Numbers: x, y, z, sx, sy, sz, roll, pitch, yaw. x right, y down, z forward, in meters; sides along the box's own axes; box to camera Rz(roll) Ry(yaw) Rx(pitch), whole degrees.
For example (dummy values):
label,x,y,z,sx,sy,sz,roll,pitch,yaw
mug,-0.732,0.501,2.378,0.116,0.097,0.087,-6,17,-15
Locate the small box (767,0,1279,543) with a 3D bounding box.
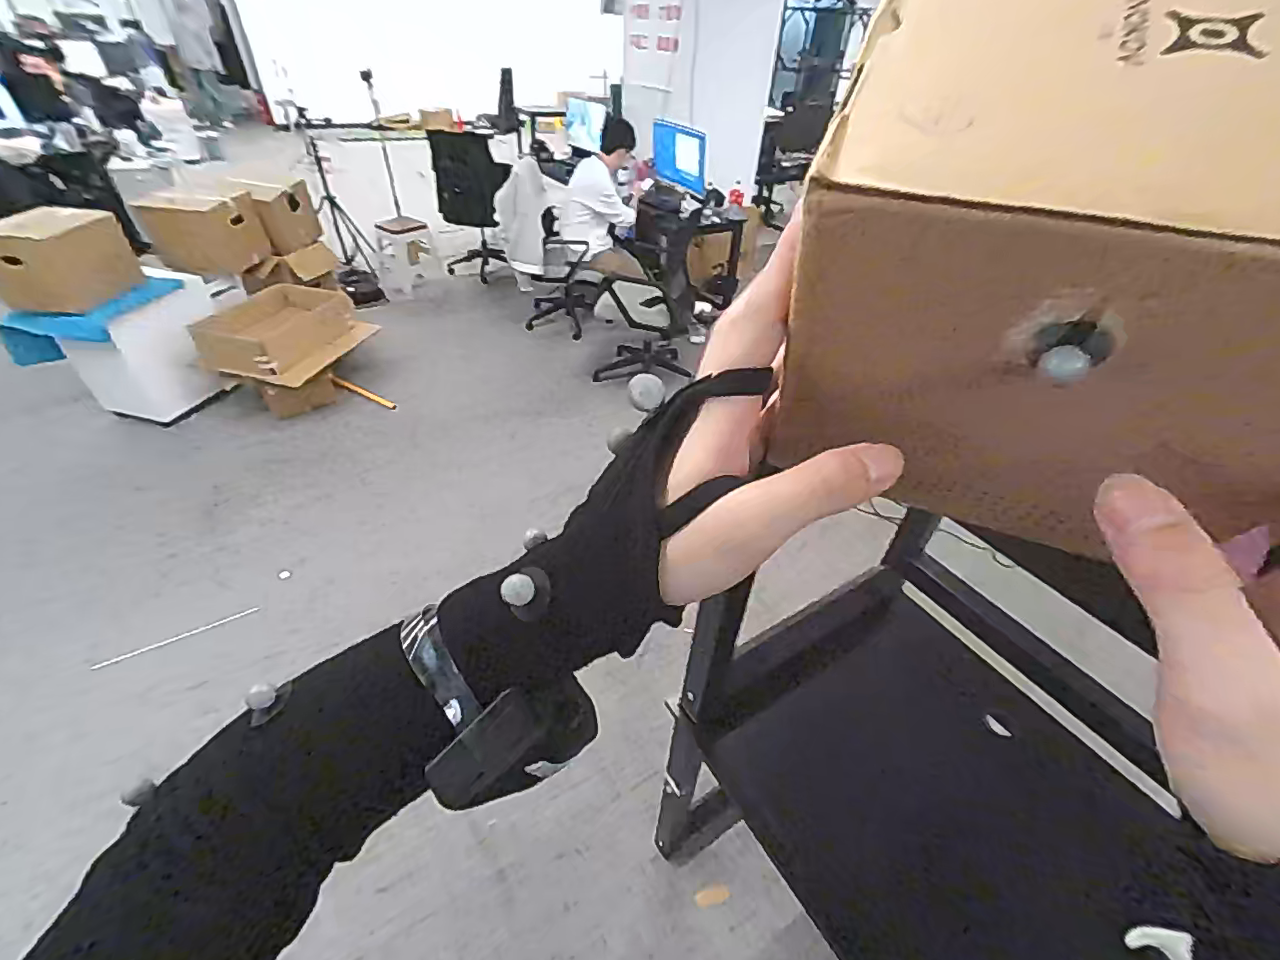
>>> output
label,x,y,z,sx,sy,sz,roll,pitch,yaw
small box,0.162,-0.092,0.232,0.179,0.176,0.168,18,67,17
